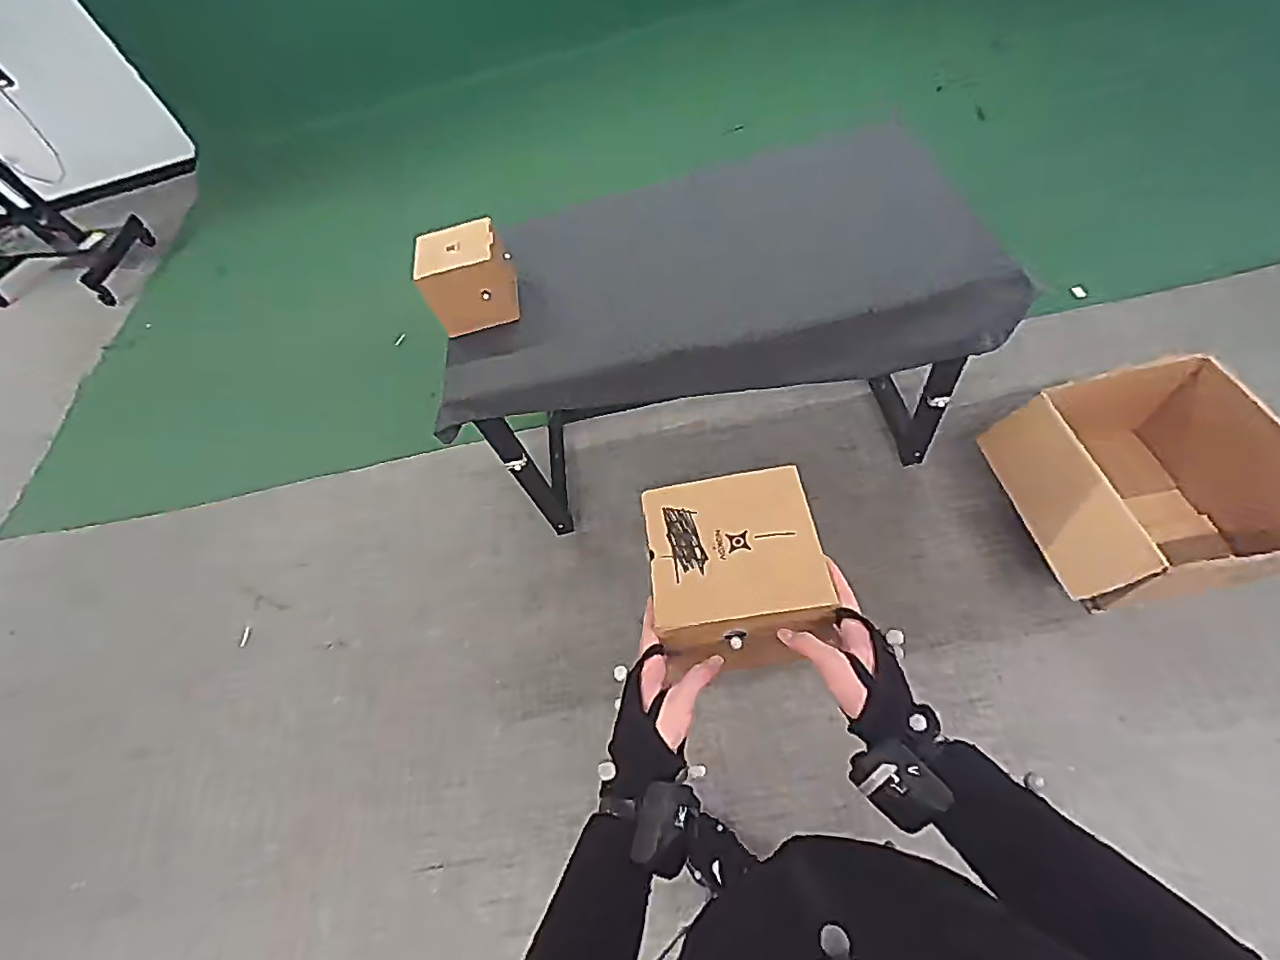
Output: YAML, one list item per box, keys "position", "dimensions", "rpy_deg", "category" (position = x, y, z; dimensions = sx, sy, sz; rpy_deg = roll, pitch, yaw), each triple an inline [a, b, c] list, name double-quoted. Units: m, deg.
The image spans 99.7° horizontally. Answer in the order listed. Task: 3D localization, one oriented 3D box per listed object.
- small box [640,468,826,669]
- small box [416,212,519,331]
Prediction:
- position: [0.102, 0.109, 0.616]
  dimensions: [0.179, 0.176, 0.168]
  rpy_deg: [-7, 55, 8]
  category: "small box"
- position: [-0.385, -0.472, 1.238]
  dimensions: [0.179, 0.176, 0.168]
  rpy_deg: [-15, 56, 4]
  category: "small box"
